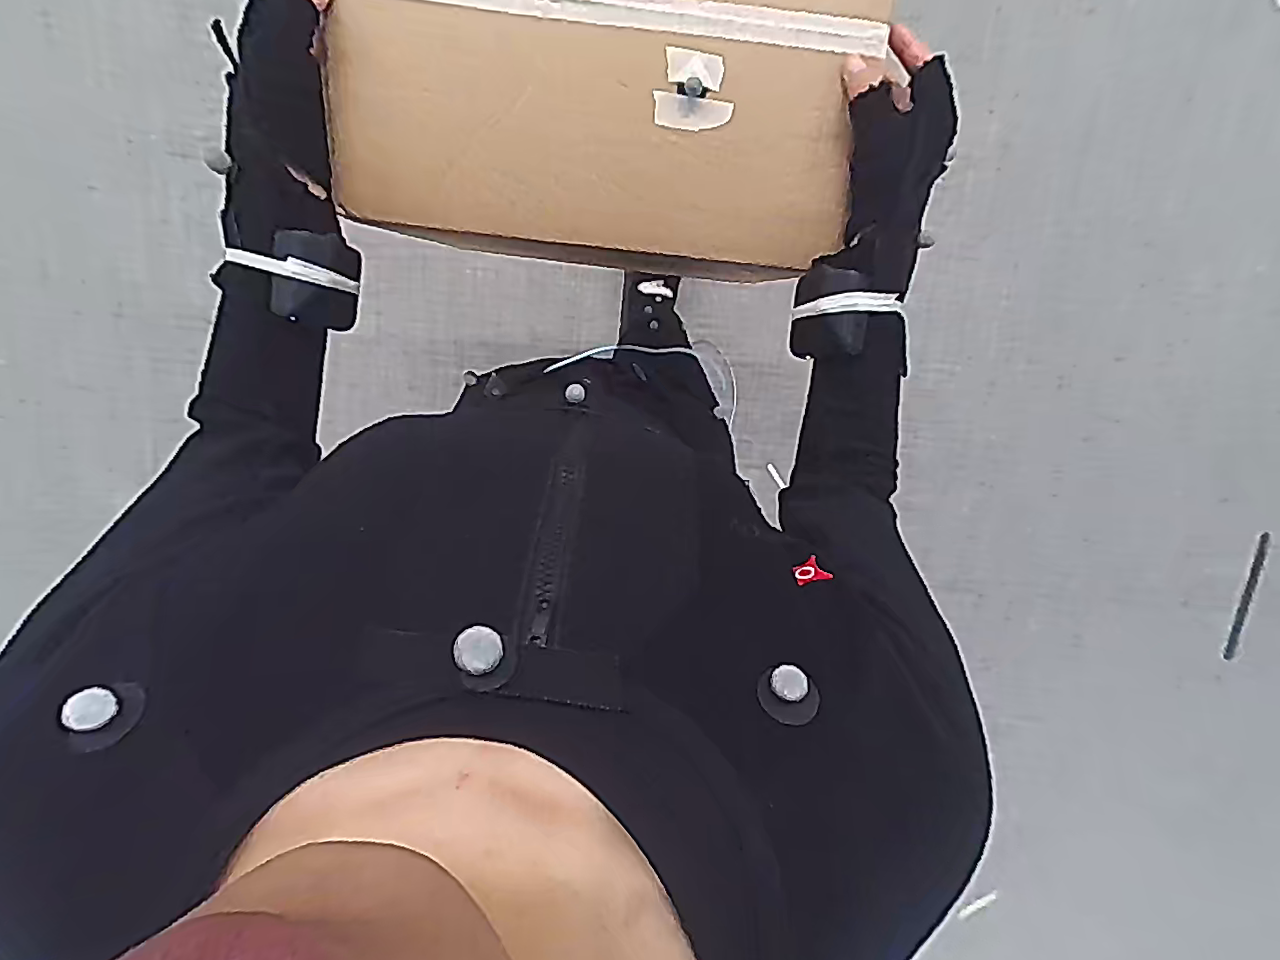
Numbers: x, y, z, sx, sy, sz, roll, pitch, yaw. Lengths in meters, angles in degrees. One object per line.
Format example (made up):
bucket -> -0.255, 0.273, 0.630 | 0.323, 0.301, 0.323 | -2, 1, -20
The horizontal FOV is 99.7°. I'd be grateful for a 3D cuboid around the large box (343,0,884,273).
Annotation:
large box -> -0.023, -0.395, 0.541 | 0.408, 0.320, 0.320 | 5, 109, -3
